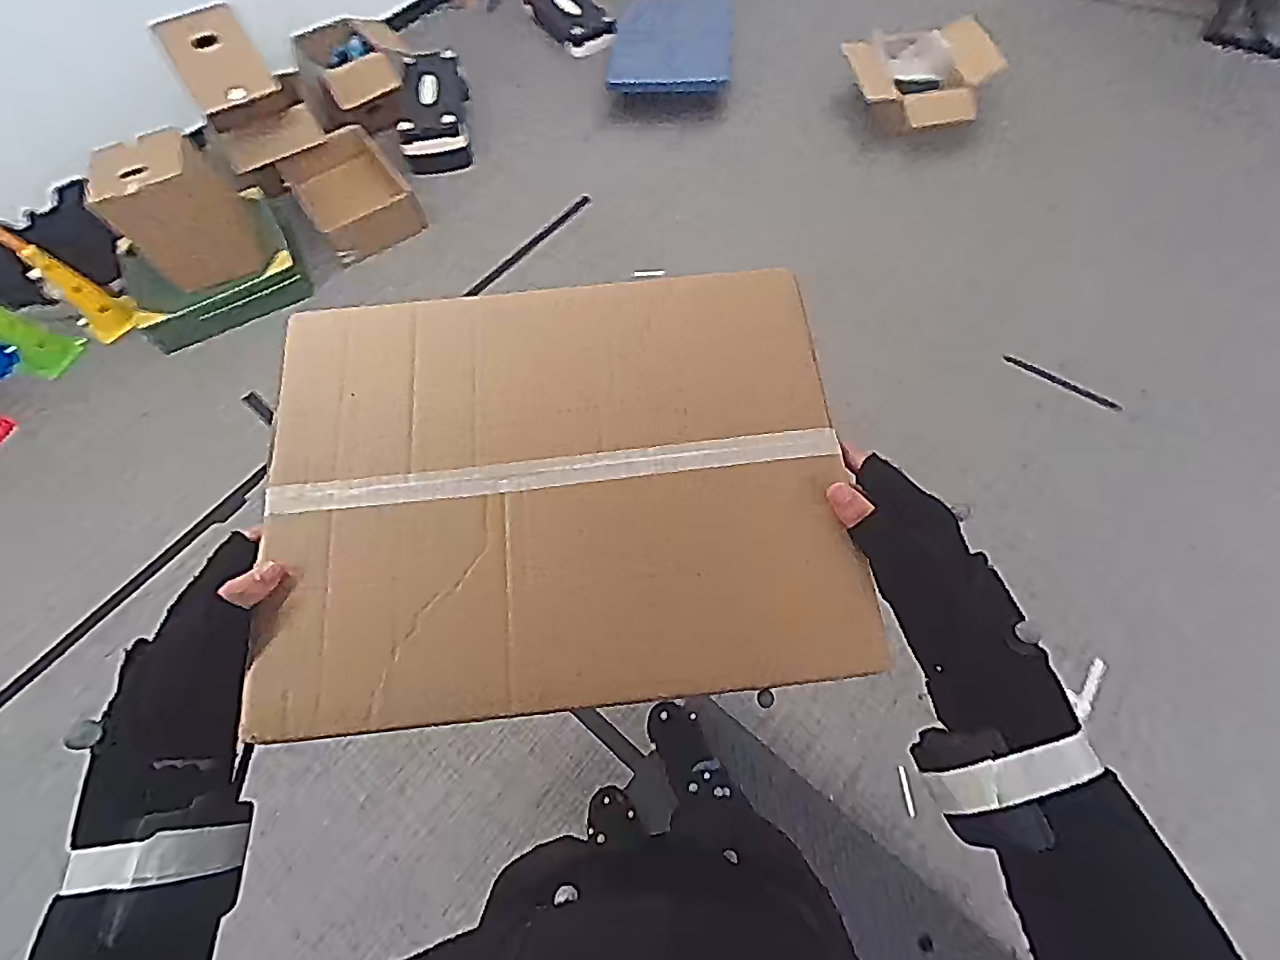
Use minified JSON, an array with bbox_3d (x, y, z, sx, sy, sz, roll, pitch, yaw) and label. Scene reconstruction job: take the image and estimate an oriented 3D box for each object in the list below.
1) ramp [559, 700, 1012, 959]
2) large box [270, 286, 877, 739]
[{"bbox_3d":[0.349,0.979,1.199,0.991,0.206,0.509,34,69,17],"label":"ramp"},{"bbox_3d":[-0.052,0.047,0.536,0.408,0.320,0.320,-5,71,-2],"label":"large box"}]
